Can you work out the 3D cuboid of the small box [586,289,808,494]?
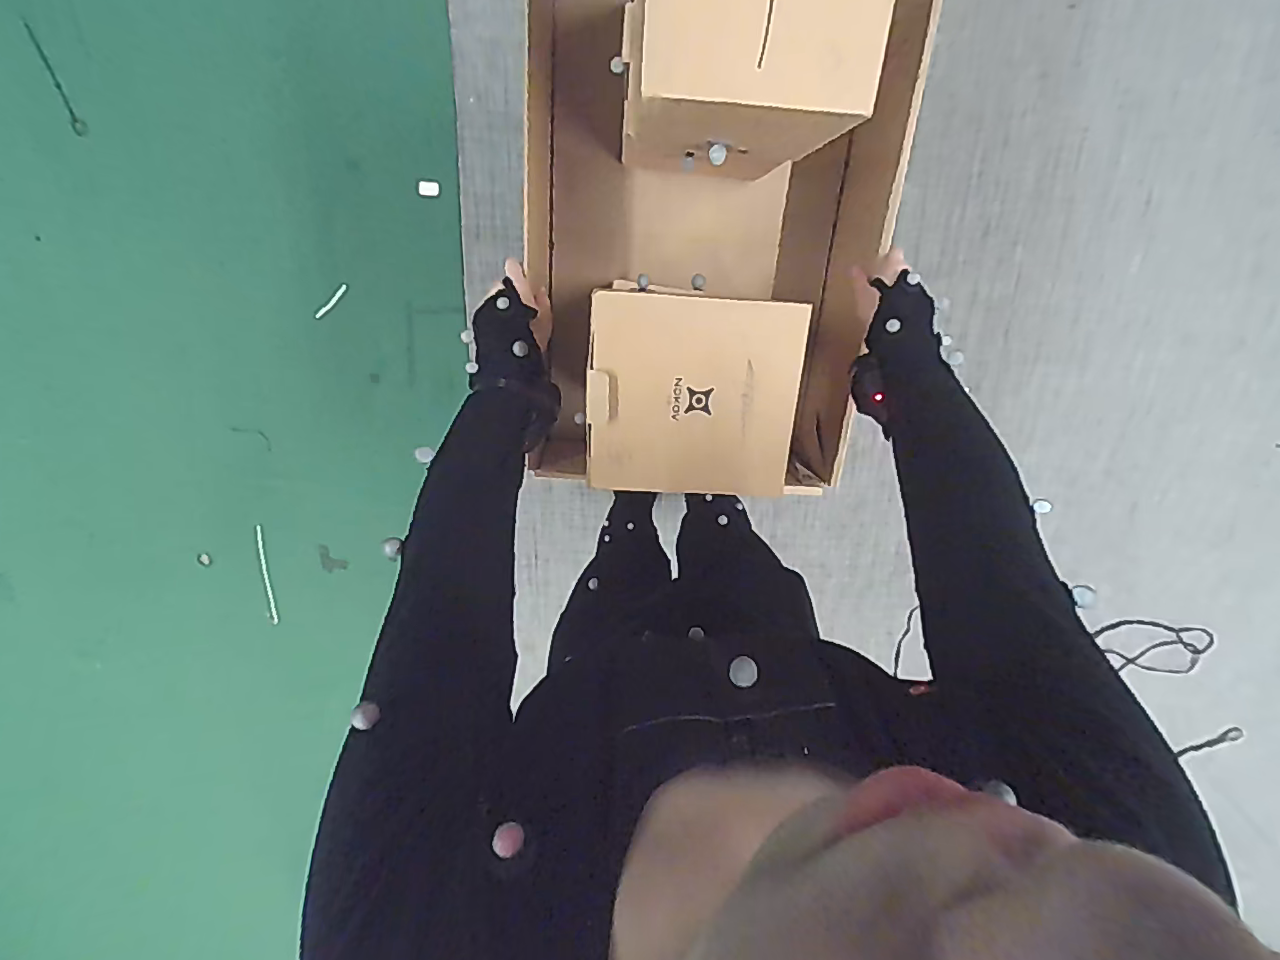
[{"bbox_3d":[0.039,-0.095,0.528,0.179,0.176,0.168,1,111,-5],"label":"small box"}]

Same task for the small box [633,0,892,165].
[{"bbox_3d":[0.083,-0.366,0.423,0.168,0.176,0.179,3,112,-4],"label":"small box"}]
